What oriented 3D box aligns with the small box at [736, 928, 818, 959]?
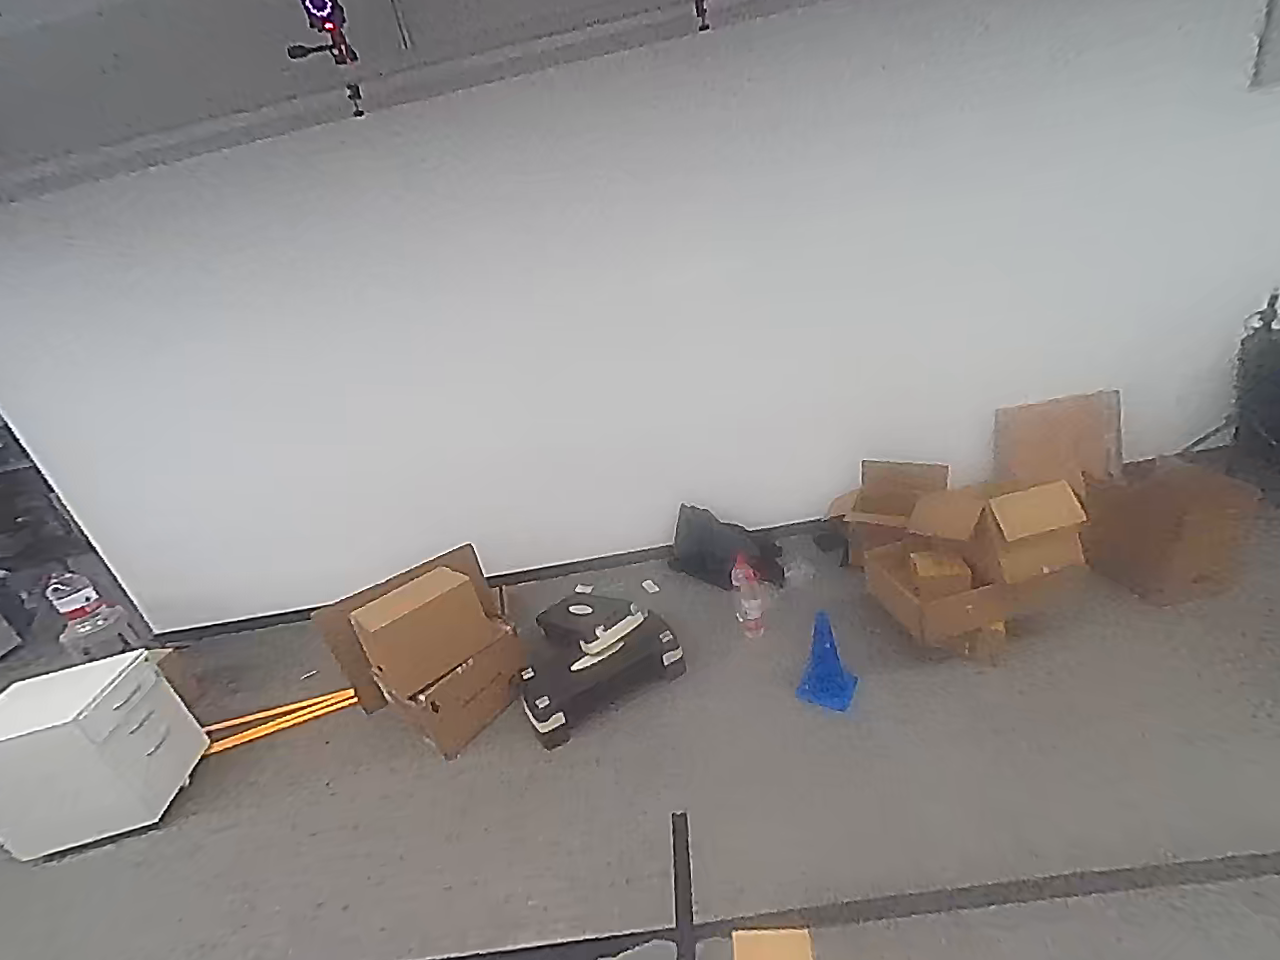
[{"bbox_3d":[0.295,1.078,1.123,0.168,0.176,0.179,-8,25,9],"label":"small box"}]
